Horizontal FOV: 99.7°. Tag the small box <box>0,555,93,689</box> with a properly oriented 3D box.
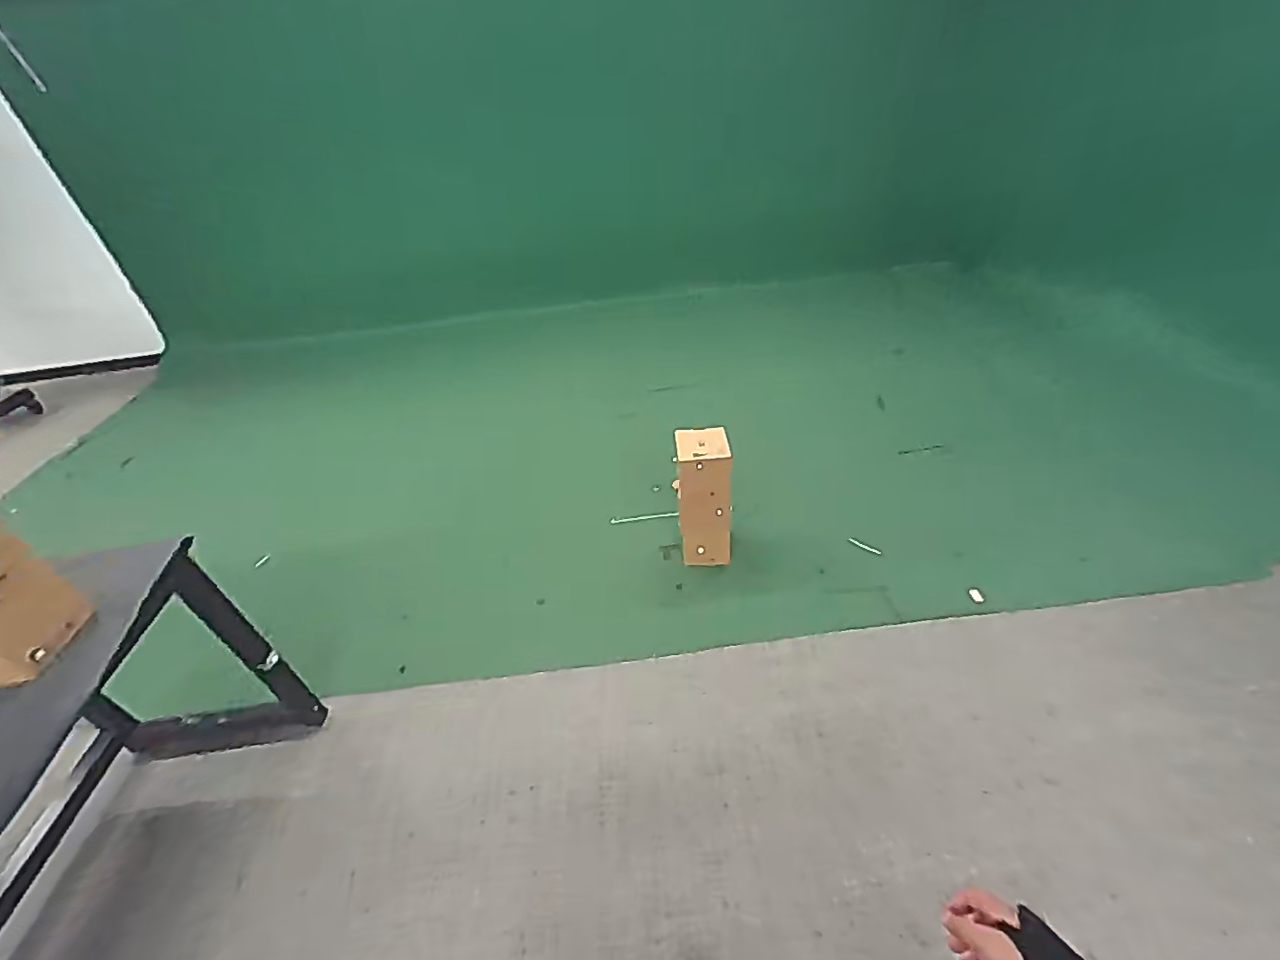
[{"bbox_3d":[-1.154,0.257,0.954,0.179,0.176,0.168,-10,39,1],"label":"small box"}]

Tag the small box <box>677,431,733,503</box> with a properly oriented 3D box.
[{"bbox_3d":[0.209,-0.043,1.783,0.168,0.176,0.179,-4,37,2],"label":"small box"}]

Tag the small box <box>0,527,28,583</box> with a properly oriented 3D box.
[{"bbox_3d":[-1.171,0.132,0.852,0.179,0.176,0.168,-11,40,-3],"label":"small box"}]

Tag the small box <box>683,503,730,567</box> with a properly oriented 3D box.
[{"bbox_3d":[0.245,0.207,1.994,0.168,0.176,0.179,-2,38,5],"label":"small box"}]
